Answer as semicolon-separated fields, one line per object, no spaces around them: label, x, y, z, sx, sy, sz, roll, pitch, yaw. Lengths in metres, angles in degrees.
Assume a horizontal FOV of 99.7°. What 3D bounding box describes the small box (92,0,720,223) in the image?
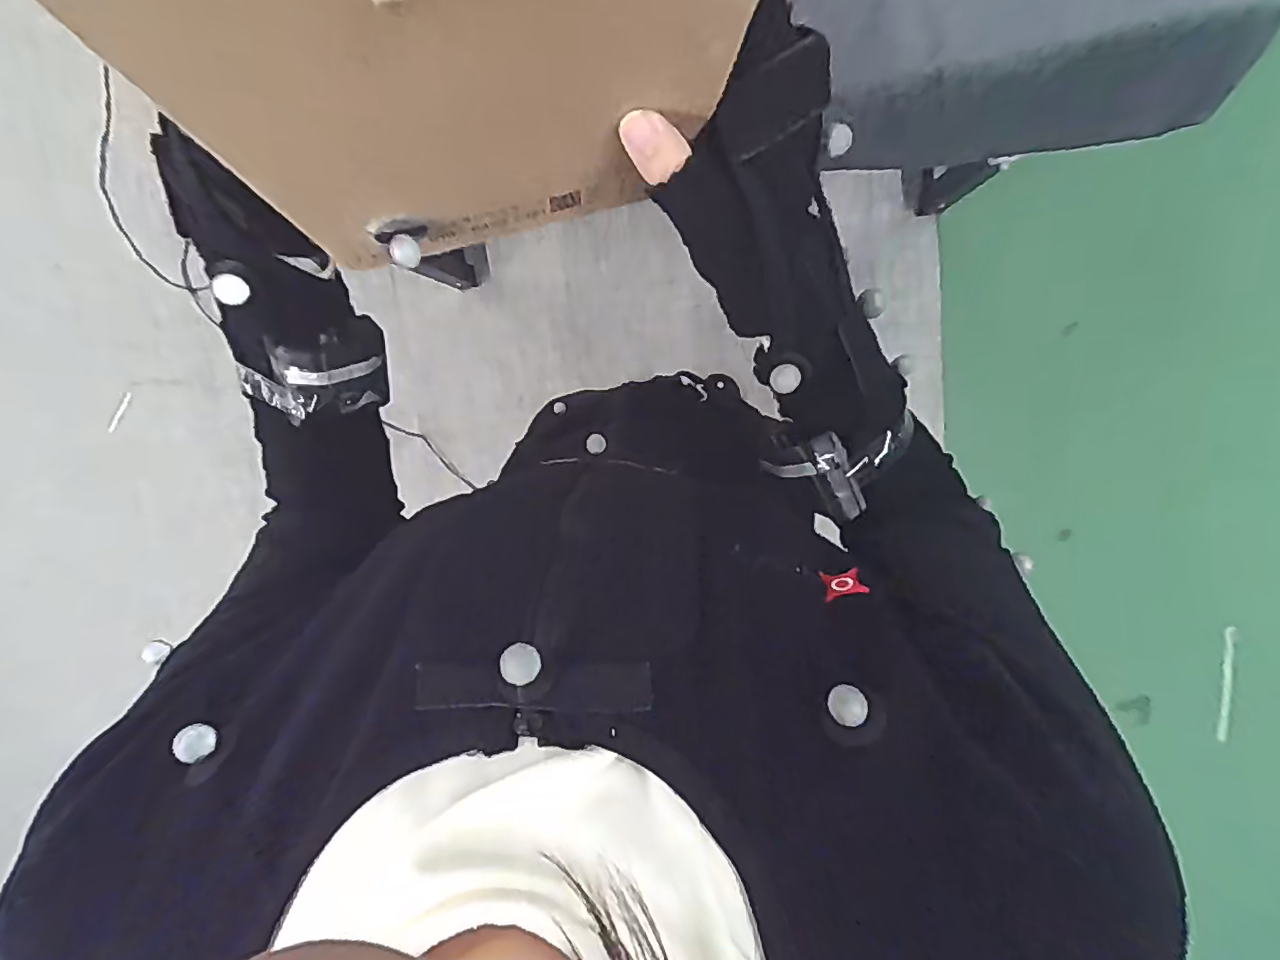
small box;-0.071;-0.209;0.176;0.168;0.176;0.179;-17;93;-7
